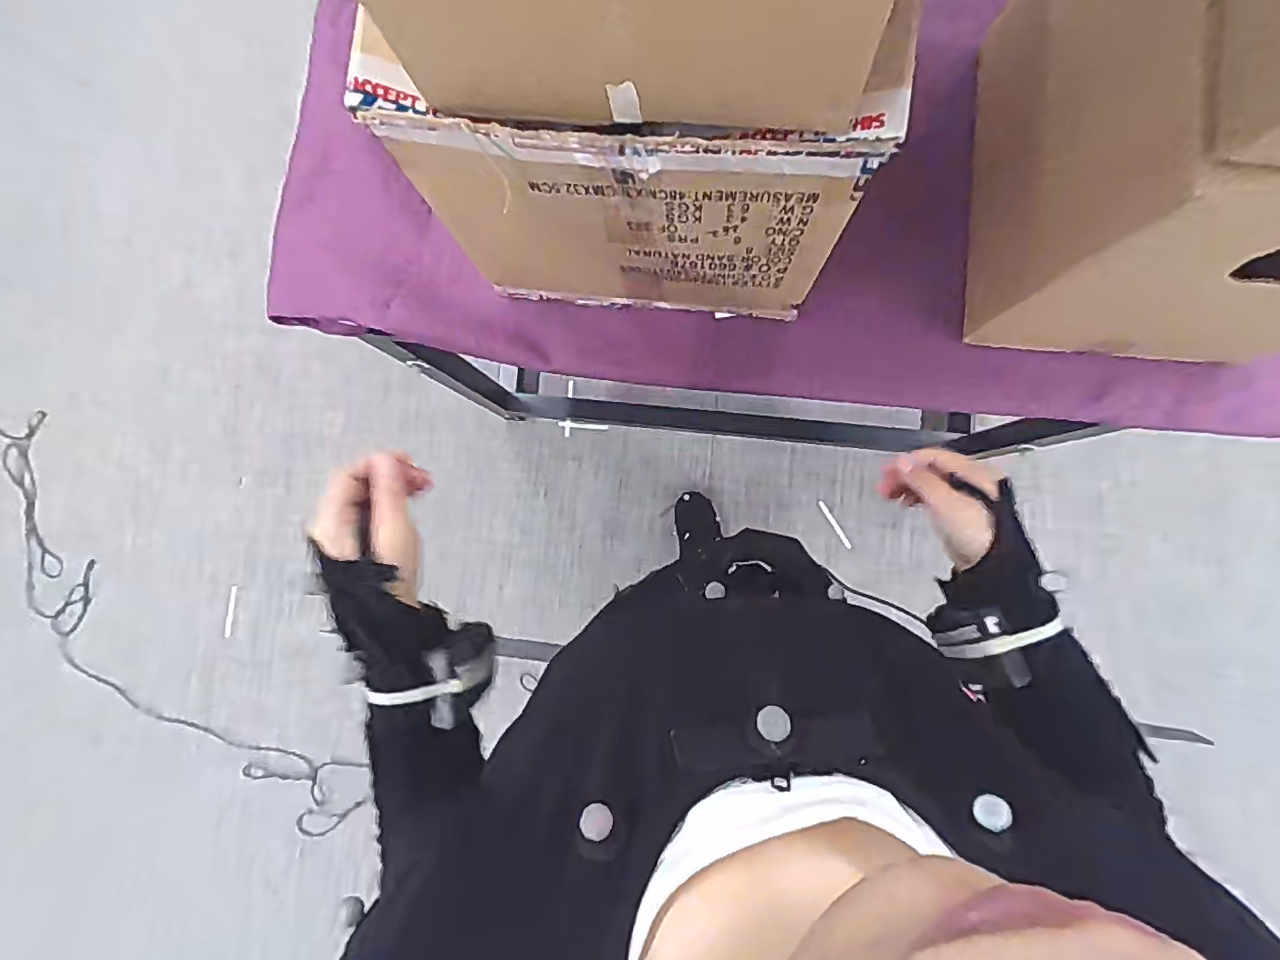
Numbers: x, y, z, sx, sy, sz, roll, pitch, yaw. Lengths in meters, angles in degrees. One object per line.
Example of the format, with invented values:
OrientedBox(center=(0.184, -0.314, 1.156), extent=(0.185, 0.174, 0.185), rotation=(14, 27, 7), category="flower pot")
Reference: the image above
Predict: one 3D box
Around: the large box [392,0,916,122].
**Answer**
OrientedBox(center=(0.014, -0.467, 0.250), extent=(0.320, 0.320, 0.408), rotation=(7, 87, 8), category="large box")
